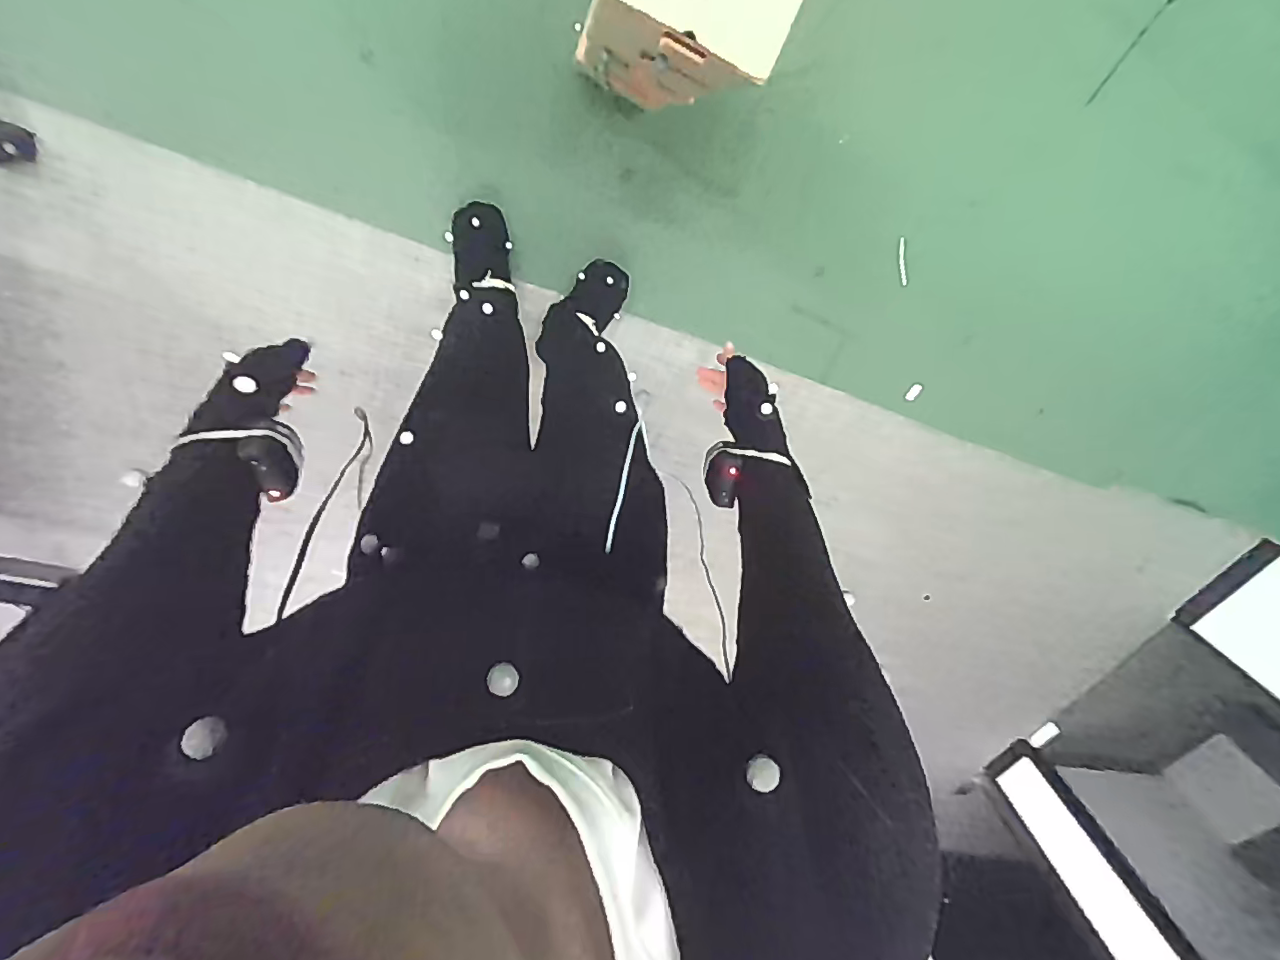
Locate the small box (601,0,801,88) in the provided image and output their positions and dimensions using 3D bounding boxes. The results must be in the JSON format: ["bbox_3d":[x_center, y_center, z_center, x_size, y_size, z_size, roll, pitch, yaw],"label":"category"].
[{"bbox_3d":[0.067,-0.512,0.517,0.168,0.176,0.179,16,119,-19],"label":"small box"}]

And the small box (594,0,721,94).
[{"bbox_3d":[0.050,-0.601,0.655,0.168,0.176,0.179,17,119,-20],"label":"small box"}]

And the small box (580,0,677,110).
[{"bbox_3d":[0.001,-0.773,0.931,0.168,0.176,0.179,18,120,-20],"label":"small box"}]
